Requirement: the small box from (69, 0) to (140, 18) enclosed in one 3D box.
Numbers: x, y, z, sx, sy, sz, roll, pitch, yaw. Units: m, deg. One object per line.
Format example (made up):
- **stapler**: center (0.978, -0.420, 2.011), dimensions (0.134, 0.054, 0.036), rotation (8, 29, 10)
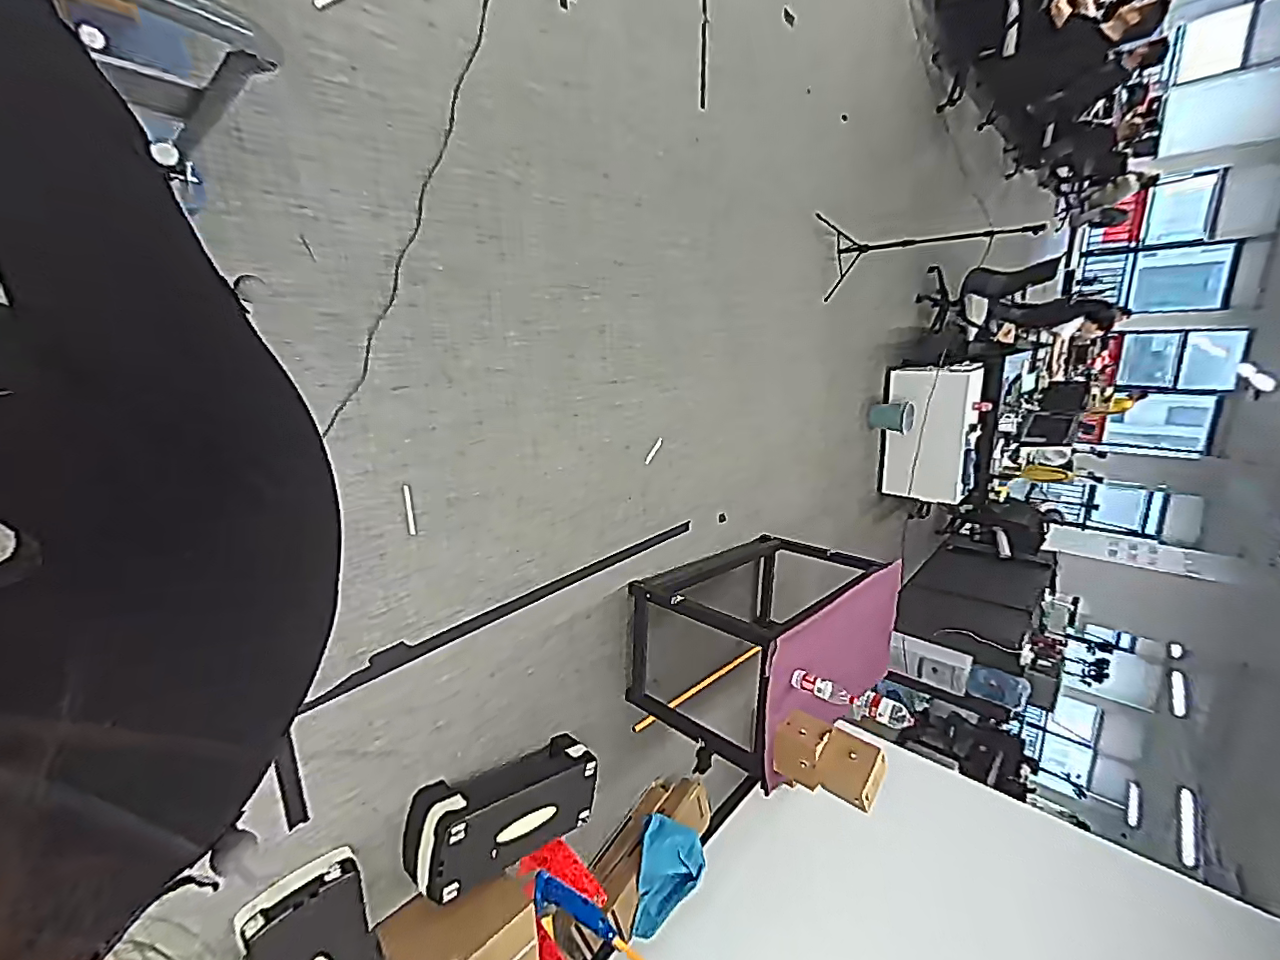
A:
- **small box**: center (-0.847, -0.822, 0.779), dimensions (0.179, 0.176, 0.168), rotation (-13, 108, -46)
